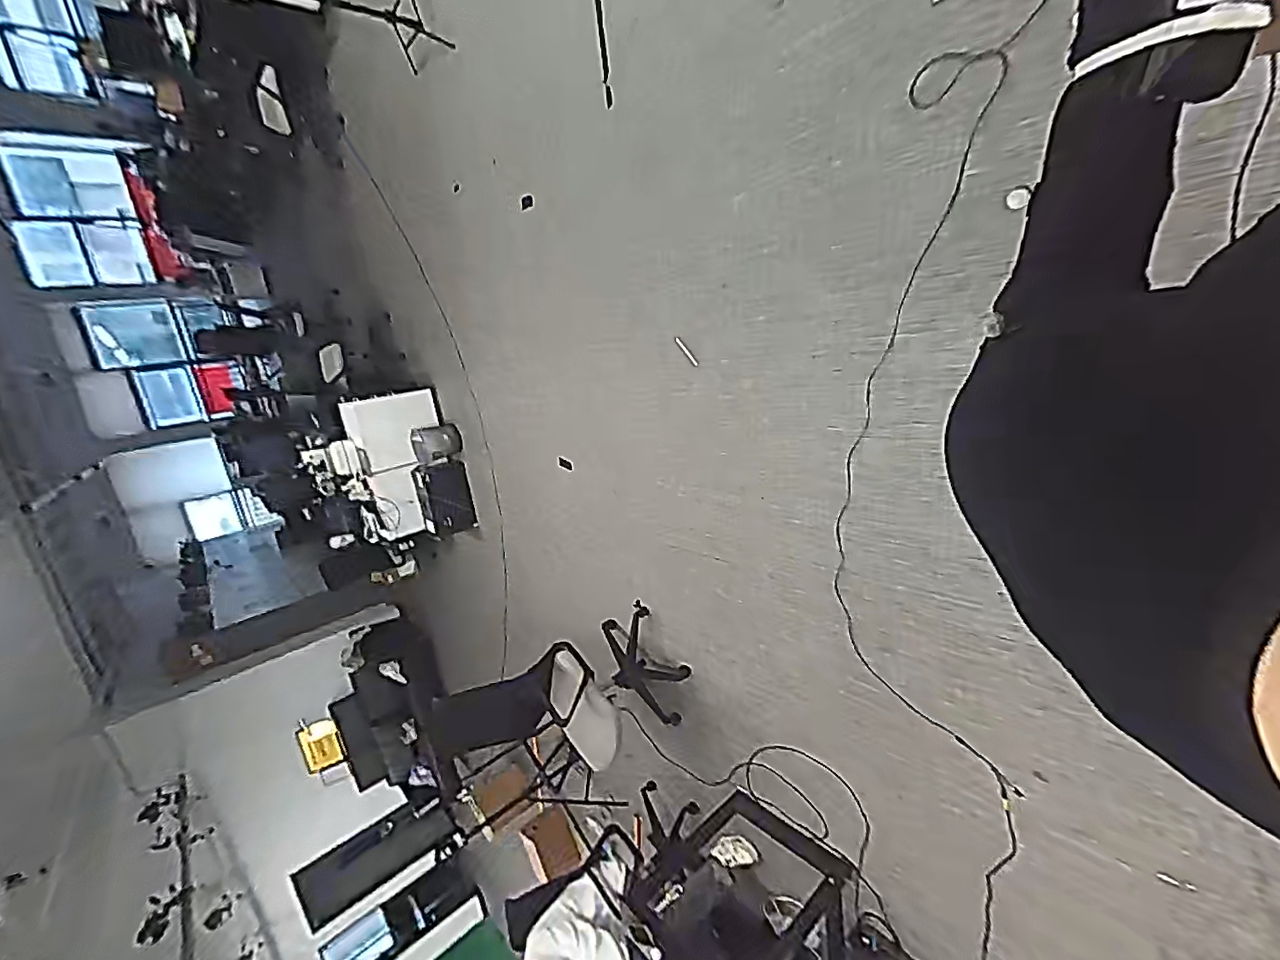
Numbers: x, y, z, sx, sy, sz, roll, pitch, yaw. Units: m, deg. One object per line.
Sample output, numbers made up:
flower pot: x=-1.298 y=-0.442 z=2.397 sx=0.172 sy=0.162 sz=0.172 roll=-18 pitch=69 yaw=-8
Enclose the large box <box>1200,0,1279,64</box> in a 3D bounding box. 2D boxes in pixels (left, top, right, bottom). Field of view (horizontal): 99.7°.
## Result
large box: x=0.576 y=-0.464 z=0.248 sx=0.408 sy=0.320 sz=0.320 roll=15 pitch=121 yaw=44
